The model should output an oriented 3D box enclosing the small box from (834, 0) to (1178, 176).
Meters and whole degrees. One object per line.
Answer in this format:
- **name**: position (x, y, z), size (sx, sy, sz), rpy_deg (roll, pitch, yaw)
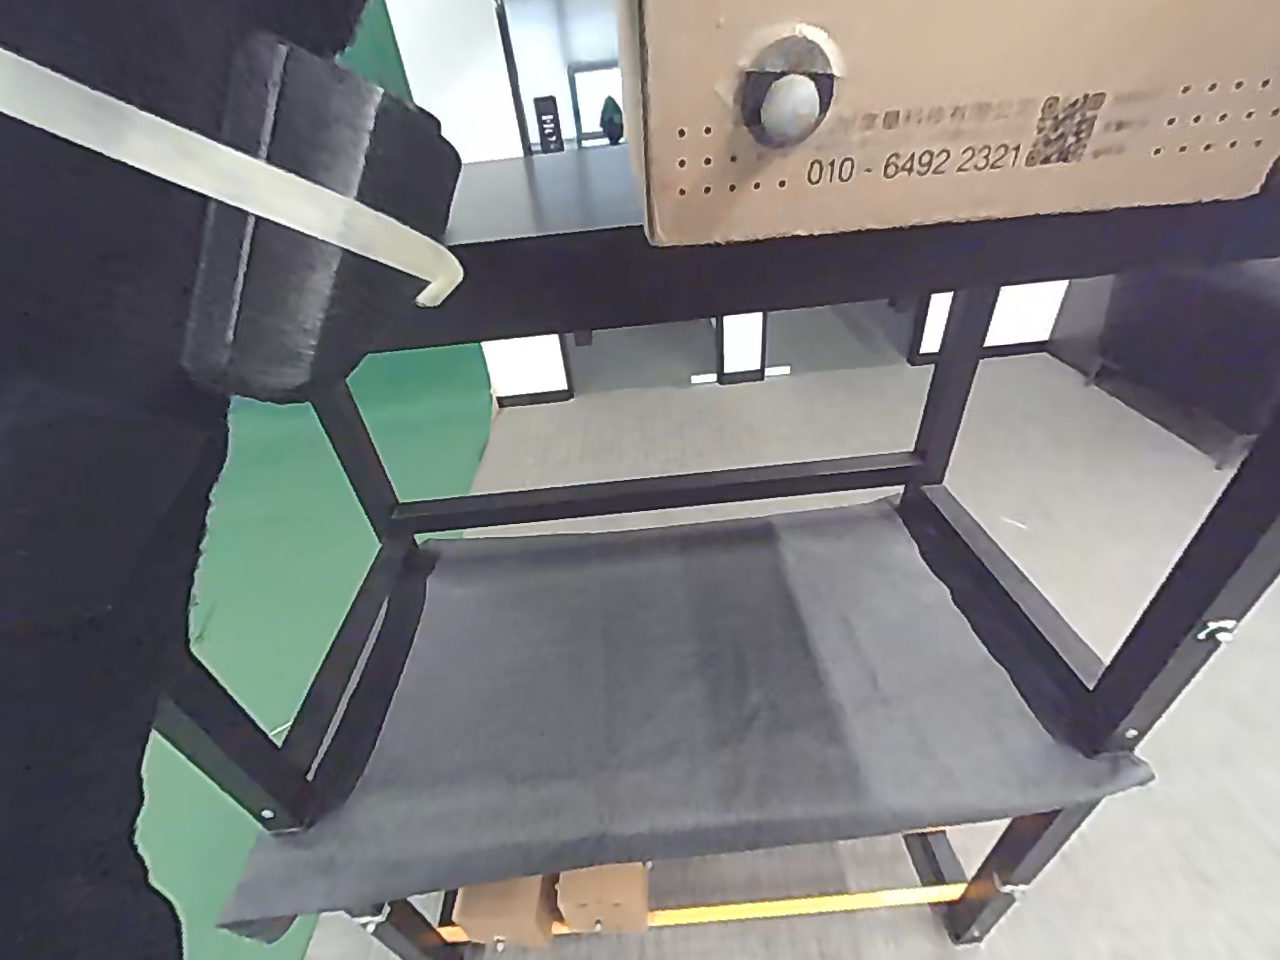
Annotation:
- **small box**: position (0.263, -0.342, 0.419), size (0.168, 0.176, 0.179), rpy_deg (-6, 35, 1)
